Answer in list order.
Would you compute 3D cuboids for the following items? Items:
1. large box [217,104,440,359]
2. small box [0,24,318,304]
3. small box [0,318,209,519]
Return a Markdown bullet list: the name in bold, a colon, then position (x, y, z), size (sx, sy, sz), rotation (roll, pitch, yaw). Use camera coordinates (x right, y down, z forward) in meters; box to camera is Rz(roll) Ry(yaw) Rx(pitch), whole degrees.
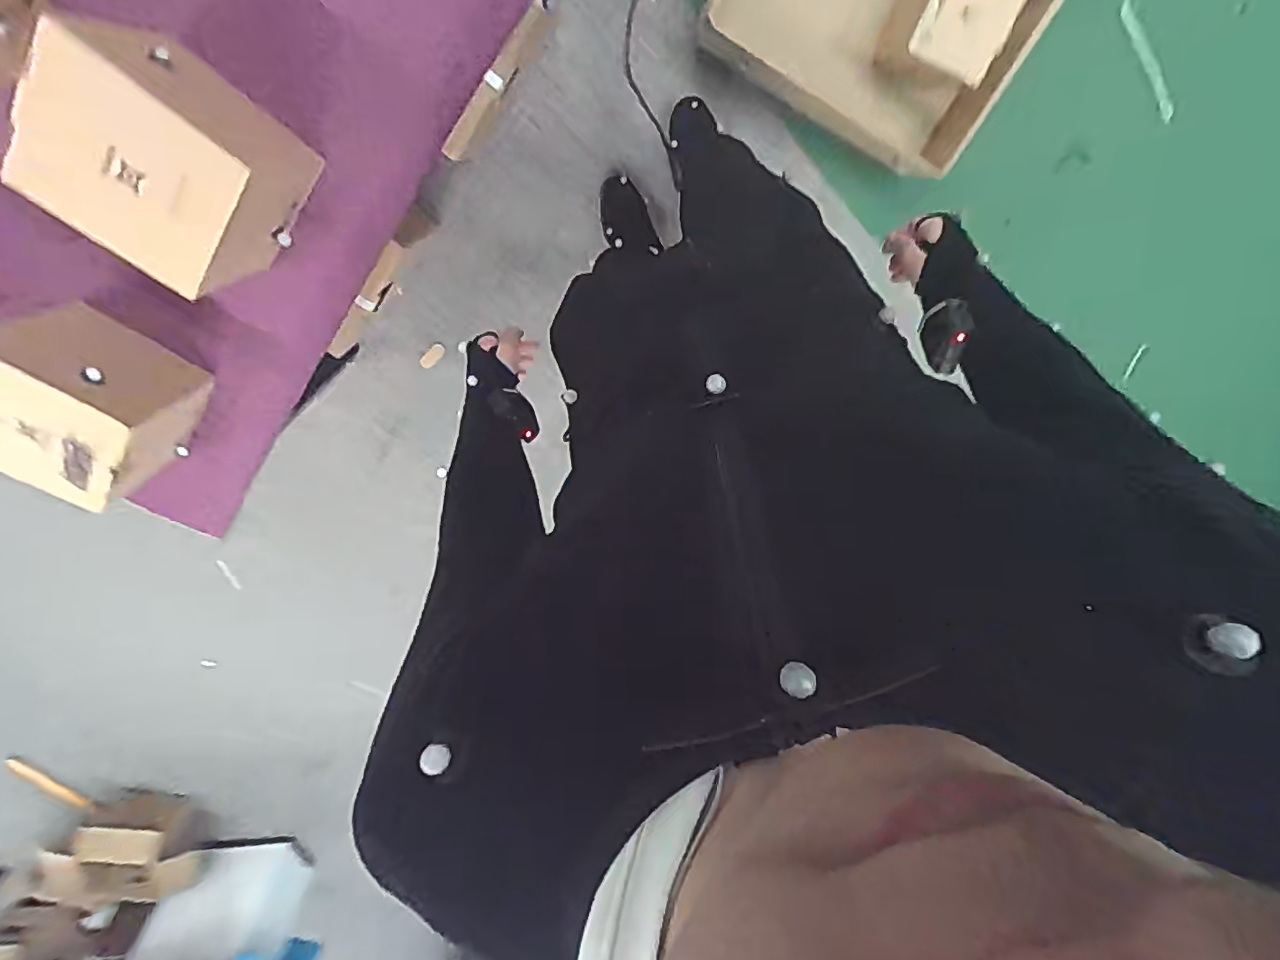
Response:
- **large box**: position (-0.734, -0.550, 1.209), size (0.408, 0.320, 0.320), rotation (35, 114, -22)
- **small box**: position (-0.495, -0.326, 0.579), size (0.179, 0.176, 0.168), rotation (36, 115, -23)
- **small box**: position (-0.731, -0.087, 0.718), size (0.179, 0.176, 0.168), rotation (34, 115, -21)
